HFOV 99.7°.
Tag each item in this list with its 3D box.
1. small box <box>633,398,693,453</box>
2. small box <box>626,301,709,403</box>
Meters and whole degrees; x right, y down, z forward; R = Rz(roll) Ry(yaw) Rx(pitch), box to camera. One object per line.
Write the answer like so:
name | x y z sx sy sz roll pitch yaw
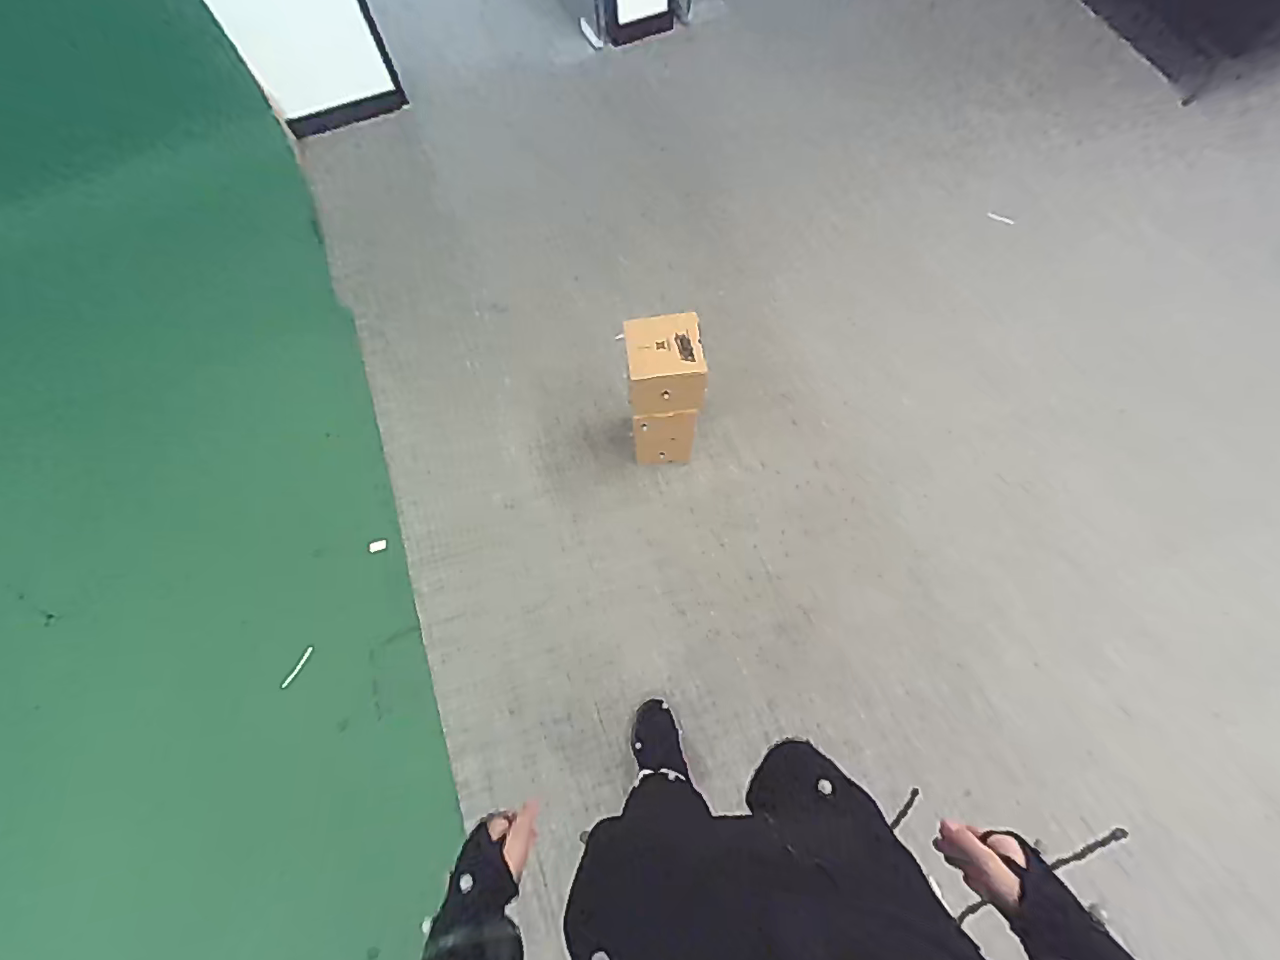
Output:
small box | 0.068 -0.186 1.584 0.168 0.176 0.179 1 69 1
small box | 0.061 -0.297 1.275 0.179 0.176 0.168 -5 69 1
